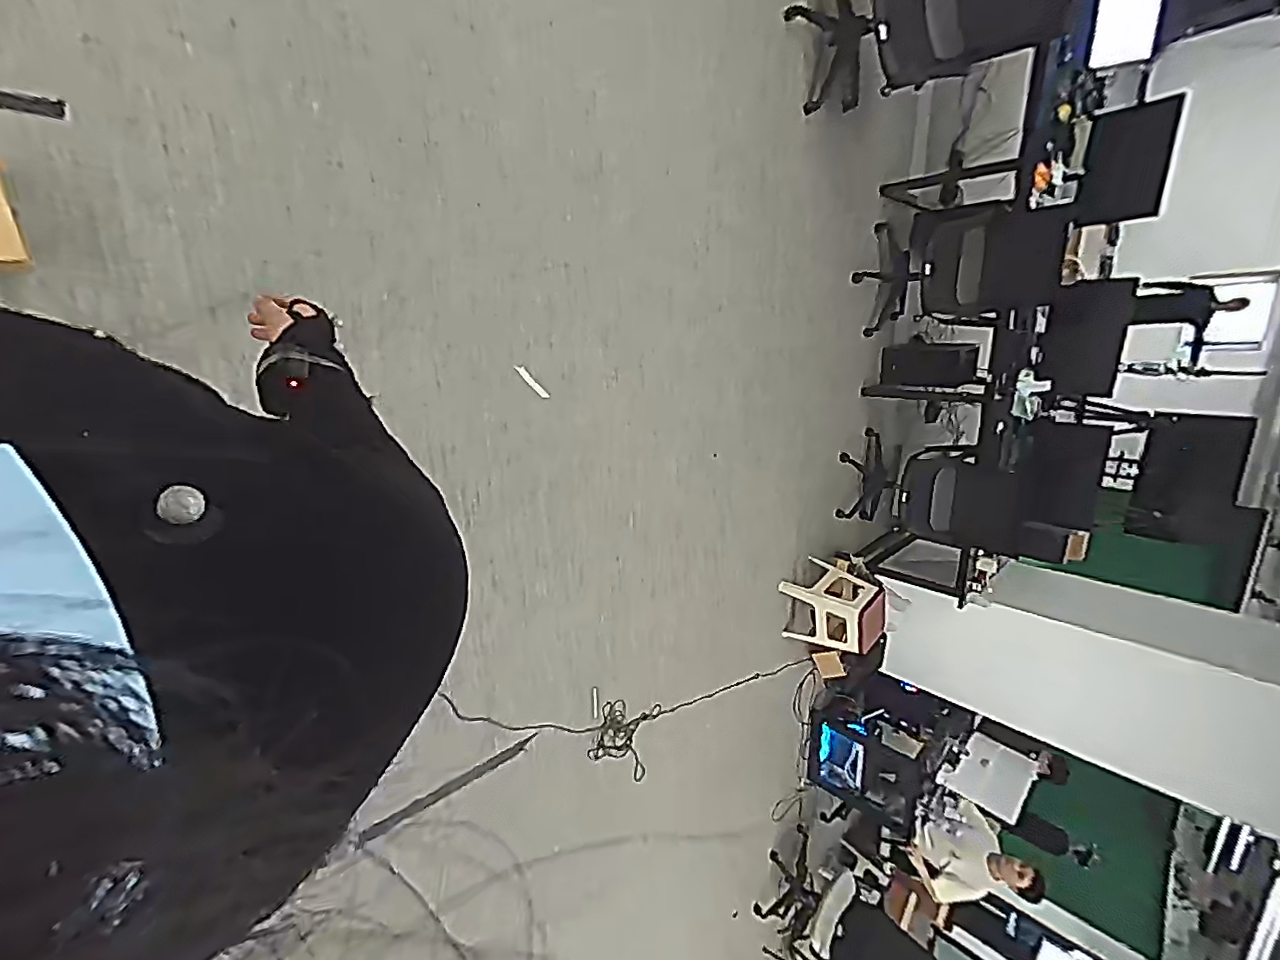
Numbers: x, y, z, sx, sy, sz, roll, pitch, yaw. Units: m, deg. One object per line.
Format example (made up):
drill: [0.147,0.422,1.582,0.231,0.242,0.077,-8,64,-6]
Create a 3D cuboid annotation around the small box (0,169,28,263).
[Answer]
small box: [-1.105,-0.440,0.842,0.168,0.176,0.179,-17,112,-42]
